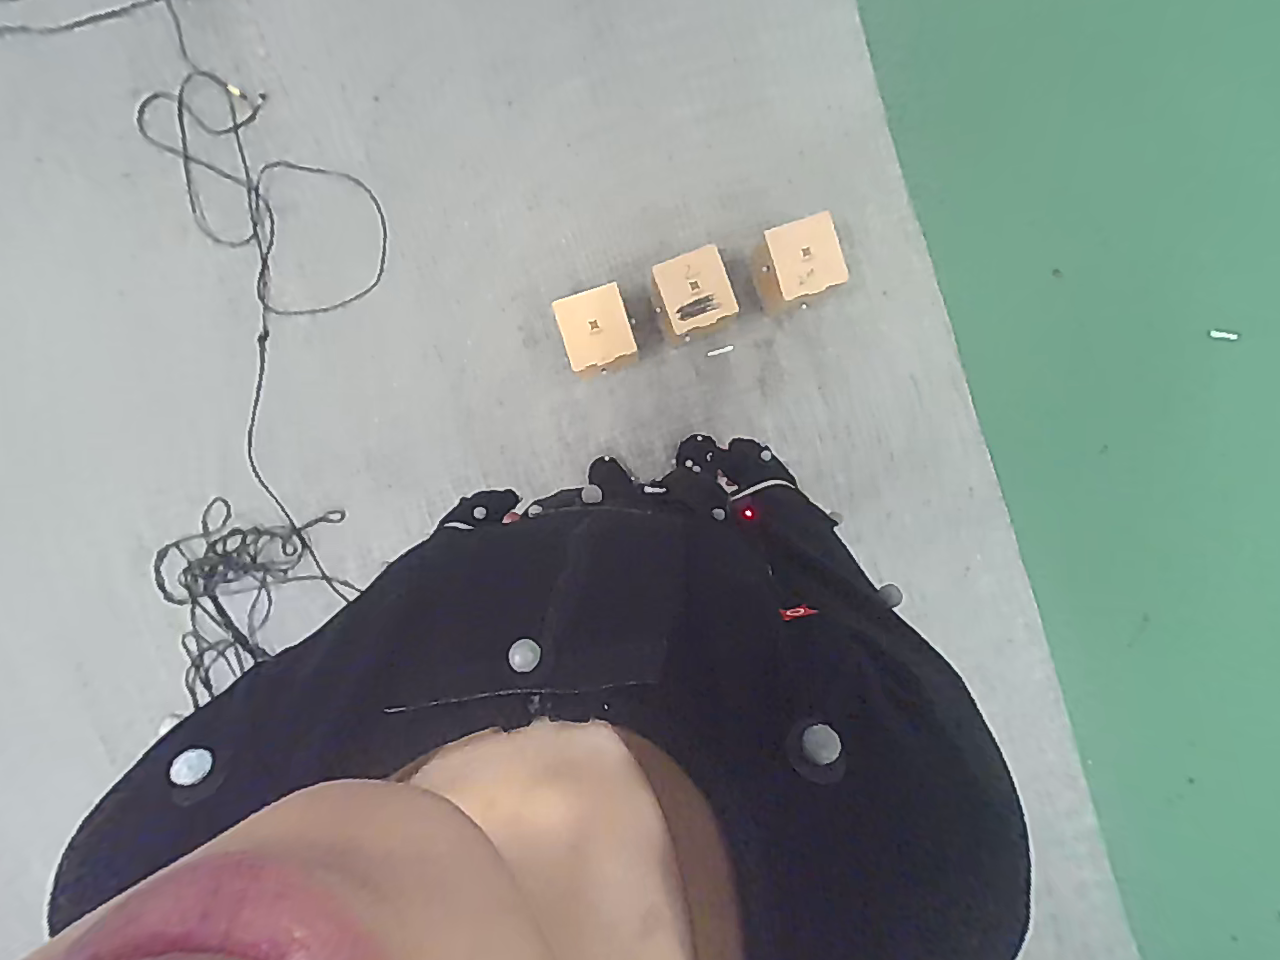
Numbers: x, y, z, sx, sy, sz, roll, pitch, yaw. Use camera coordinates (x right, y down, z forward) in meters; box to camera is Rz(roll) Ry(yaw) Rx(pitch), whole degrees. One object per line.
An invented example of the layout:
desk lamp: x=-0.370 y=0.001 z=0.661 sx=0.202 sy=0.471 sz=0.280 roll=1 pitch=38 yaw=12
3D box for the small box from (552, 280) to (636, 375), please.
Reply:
small box: x=-0.112 y=-0.382 z=1.384 sx=0.168 sy=0.176 sz=0.179 roll=-18 pitch=94 yaw=2

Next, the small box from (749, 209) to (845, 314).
small box: x=0.391 y=-0.548 z=1.377 sx=0.168 sy=0.176 sz=0.179 roll=-18 pitch=94 yaw=1
